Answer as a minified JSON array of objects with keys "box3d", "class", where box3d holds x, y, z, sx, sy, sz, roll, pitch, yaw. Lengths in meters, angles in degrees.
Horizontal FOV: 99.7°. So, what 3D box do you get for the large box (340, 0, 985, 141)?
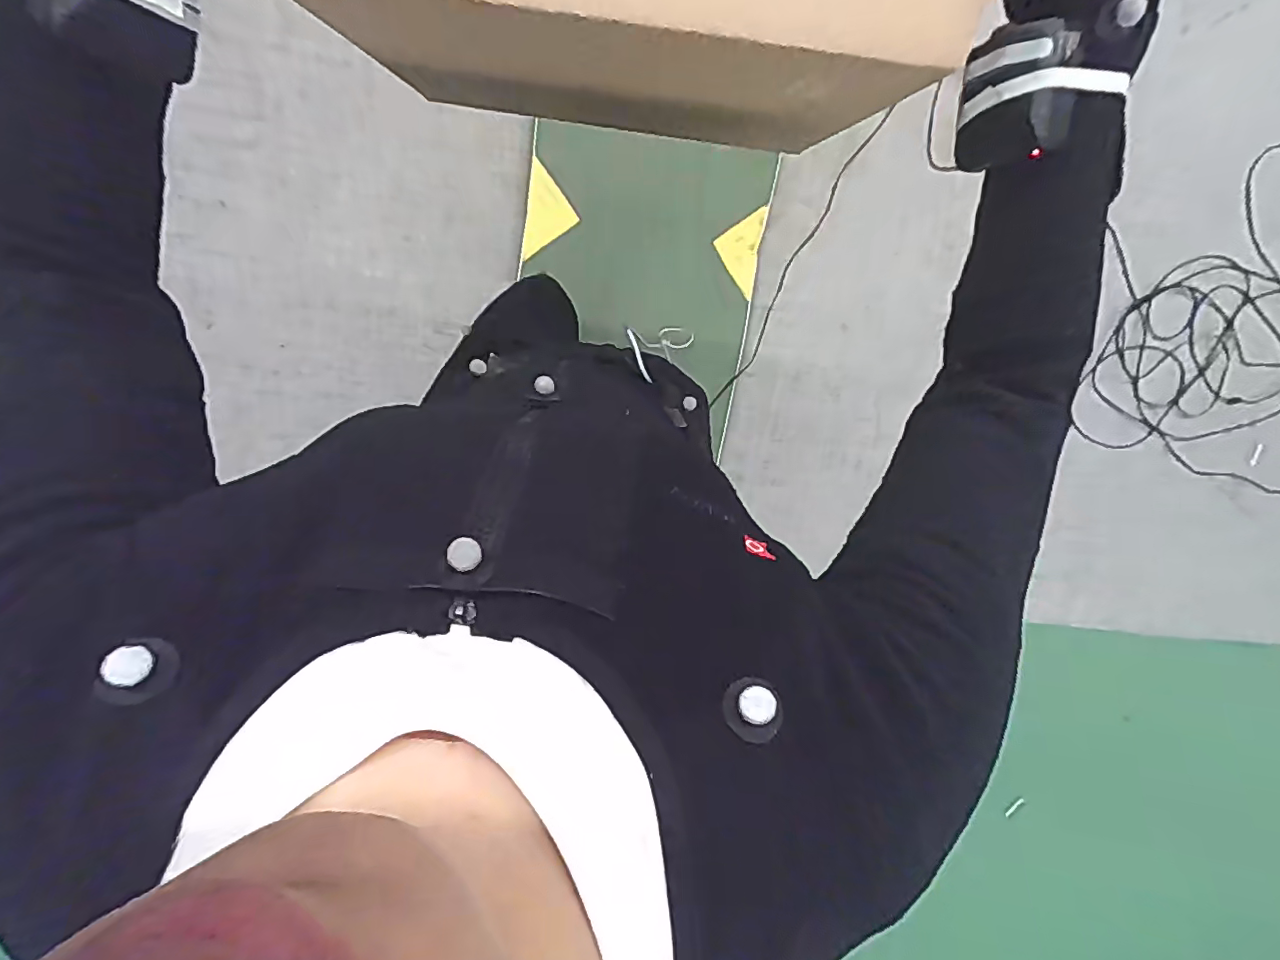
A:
[{"box3d":[0.006,-0.467,0.385,0.408,0.320,0.320,5,113,-5],"class":"large box"}]
